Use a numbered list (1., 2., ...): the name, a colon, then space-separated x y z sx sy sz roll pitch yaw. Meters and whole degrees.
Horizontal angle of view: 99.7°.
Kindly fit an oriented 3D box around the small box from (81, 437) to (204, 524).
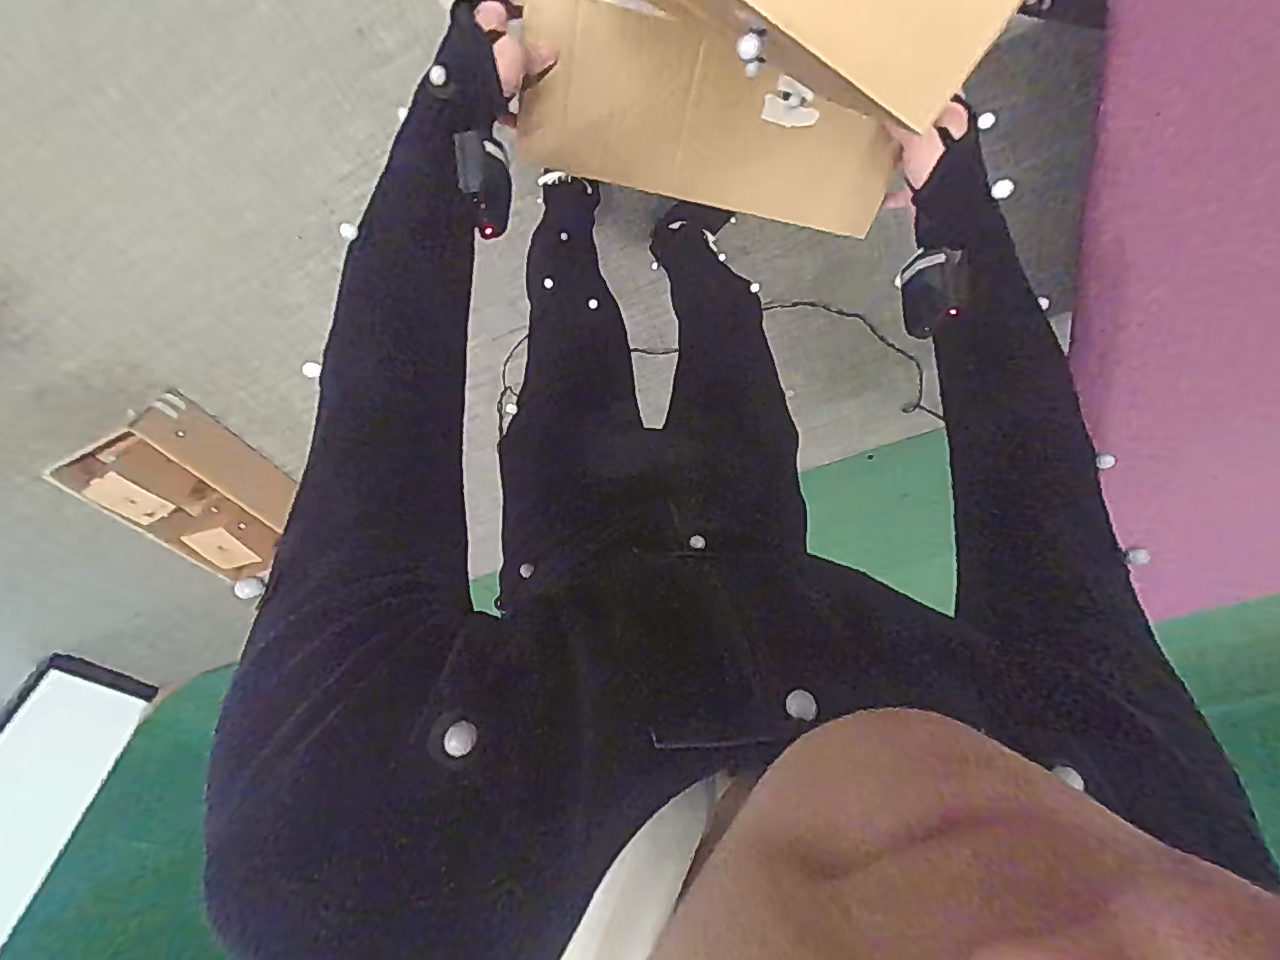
1. small box: -1.462 -0.005 1.602 0.168 0.176 0.179 -23 131 19

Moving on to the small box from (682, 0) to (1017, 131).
1. small box: 0.097 -0.306 0.256 0.179 0.176 0.168 21 127 -20

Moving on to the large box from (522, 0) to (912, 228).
1. large box: 0.091 -0.522 0.607 0.408 0.320 0.320 7 132 -10

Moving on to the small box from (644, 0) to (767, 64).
1. small box: 0.074 -0.417 0.375 0.179 0.176 0.168 17 127 -17
